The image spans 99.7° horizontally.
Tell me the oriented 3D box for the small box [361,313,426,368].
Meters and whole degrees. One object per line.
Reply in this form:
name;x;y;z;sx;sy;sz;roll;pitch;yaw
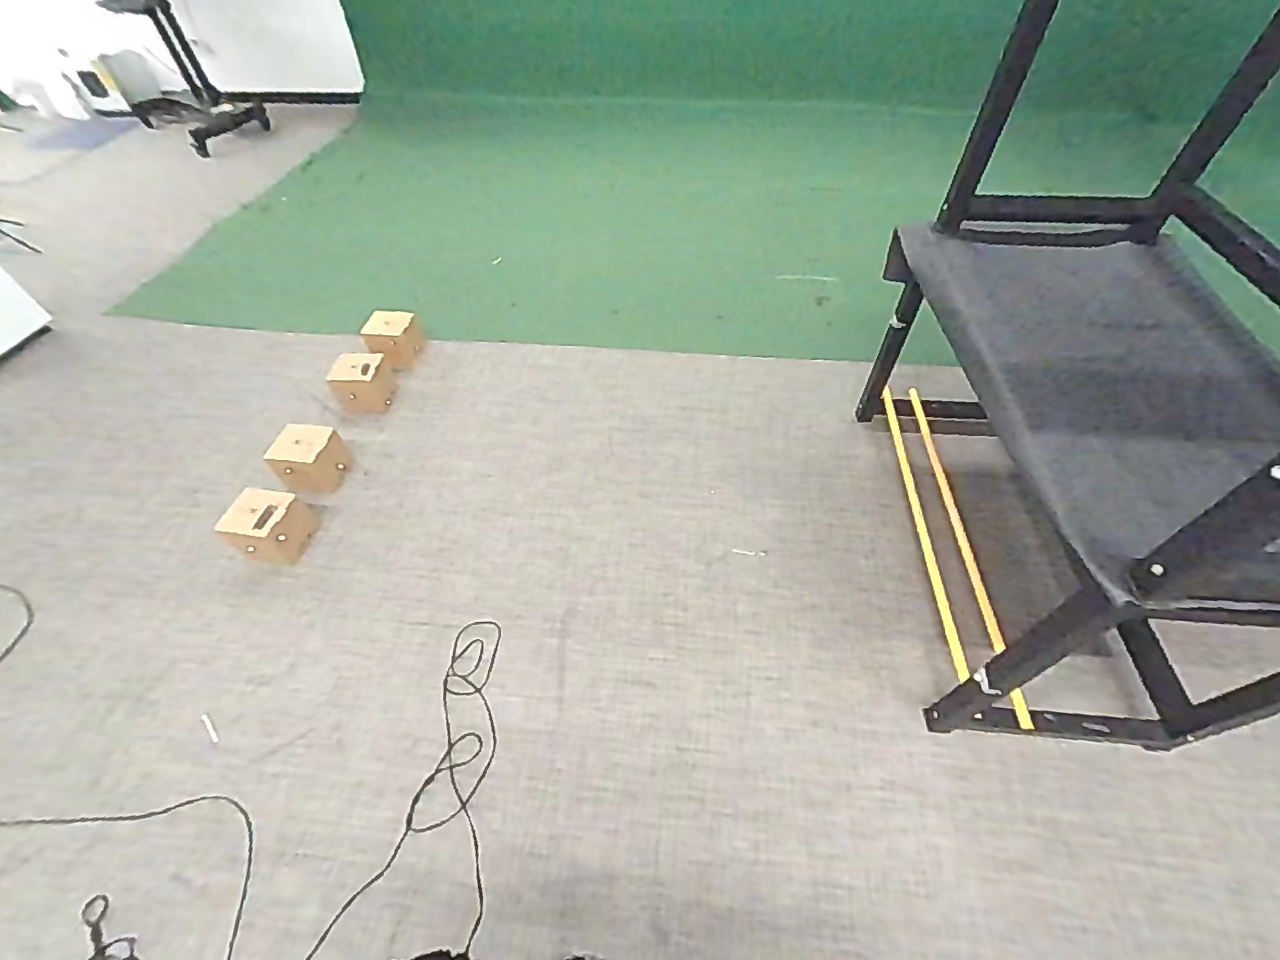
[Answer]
small box;-1.055;-0.600;2.327;0.179;0.176;0.168;4;51;4

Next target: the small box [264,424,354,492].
small box;-1.144;-0.073;1.882;0.179;0.176;0.168;6;51;4

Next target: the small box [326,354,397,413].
small box;-1.092;-0.378;2.140;0.179;0.176;0.168;1;50;2
